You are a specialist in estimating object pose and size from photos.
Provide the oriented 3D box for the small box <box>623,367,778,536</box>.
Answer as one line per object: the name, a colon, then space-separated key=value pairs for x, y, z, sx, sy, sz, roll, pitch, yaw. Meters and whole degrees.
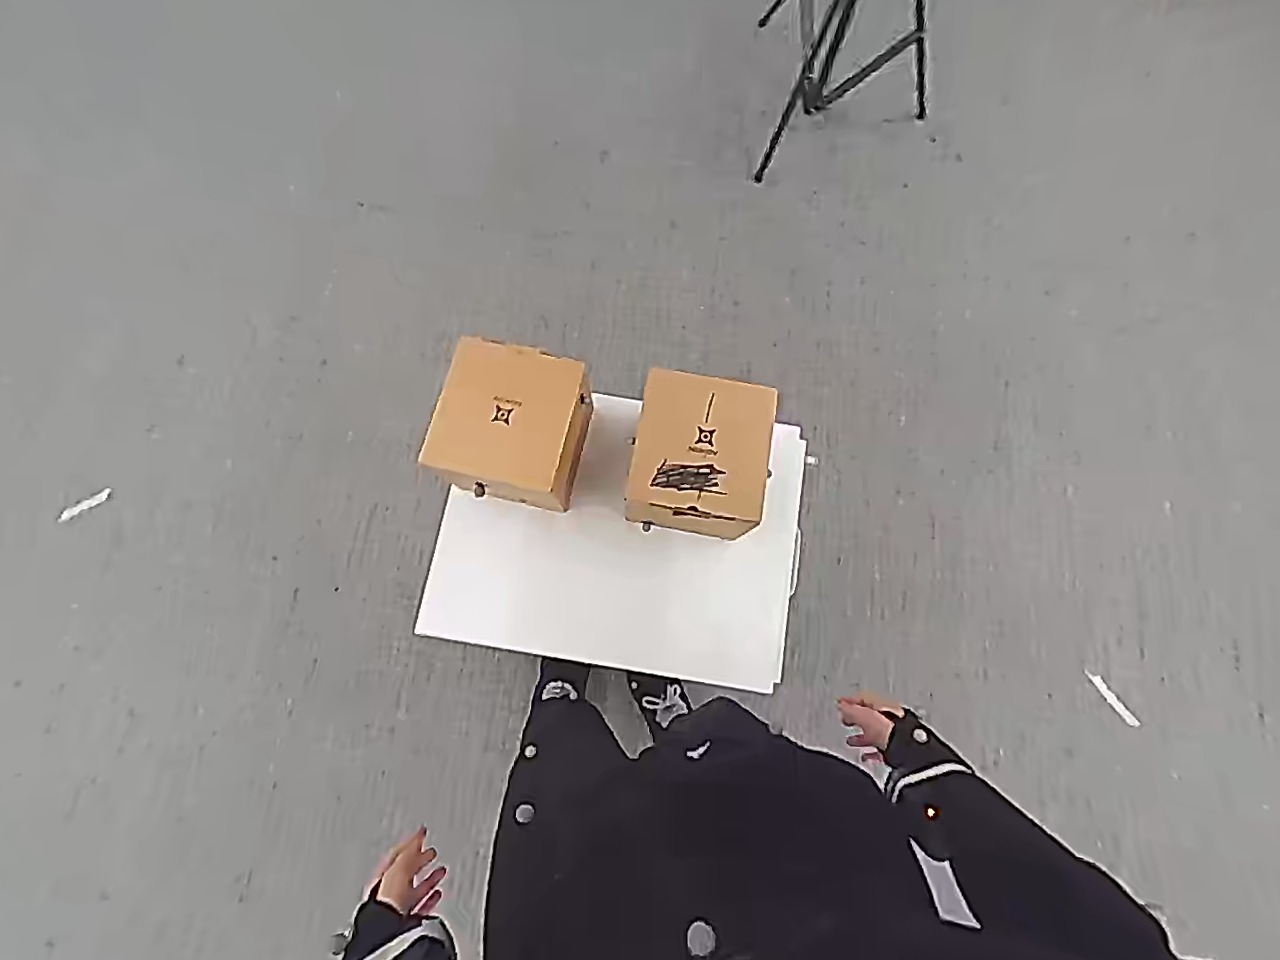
small box: x=0.076 y=-0.027 z=0.734 sx=0.168 sy=0.176 sz=0.179 roll=11 pitch=77 yaw=1

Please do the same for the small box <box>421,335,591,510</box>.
small box: x=-0.166 y=-0.067 z=0.739 sx=0.168 sy=0.176 sz=0.179 roll=13 pitch=77 yaw=1
